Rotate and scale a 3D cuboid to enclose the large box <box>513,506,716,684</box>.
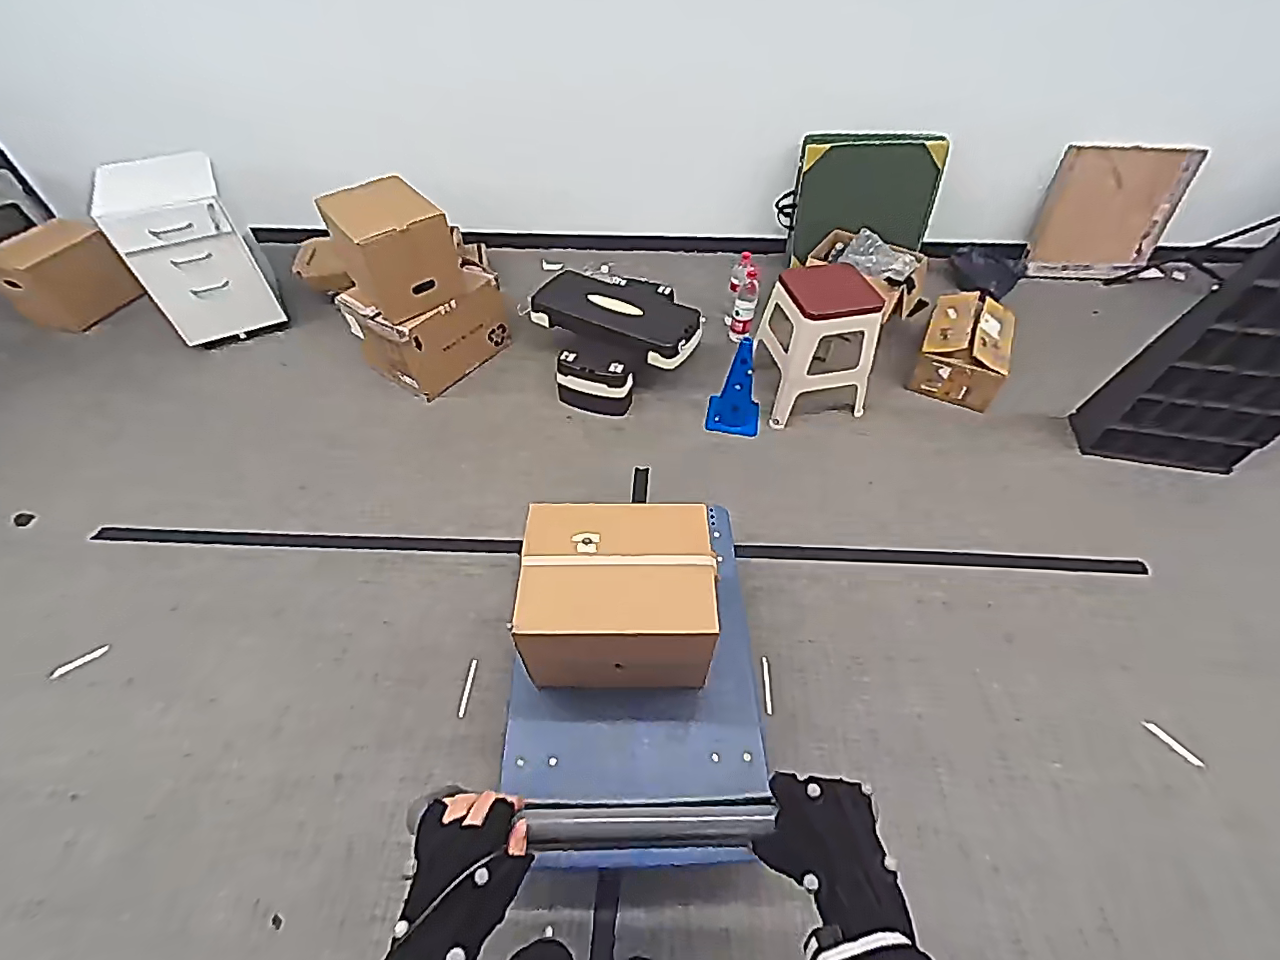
[{"bbox_3d":[-0.049,0.273,1.256,0.408,0.320,0.320,0,51,0],"label":"large box"}]
